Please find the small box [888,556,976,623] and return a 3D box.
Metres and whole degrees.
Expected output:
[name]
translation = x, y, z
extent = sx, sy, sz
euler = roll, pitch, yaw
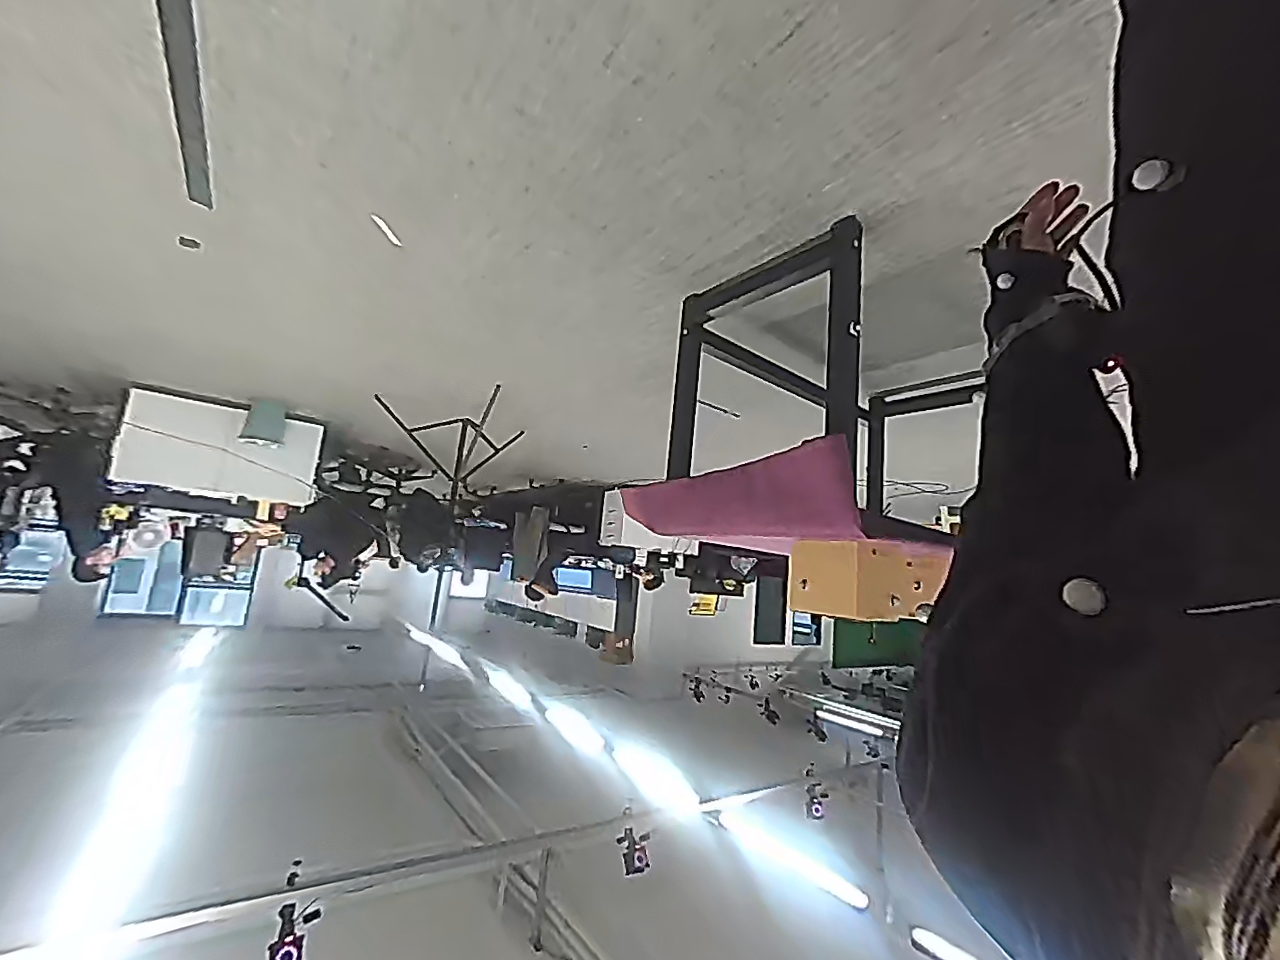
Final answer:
[small box]
translation = 0.812, 0.303, 1.508
extent = 0.179, 0.176, 0.168
euler = 13, 167, -37
